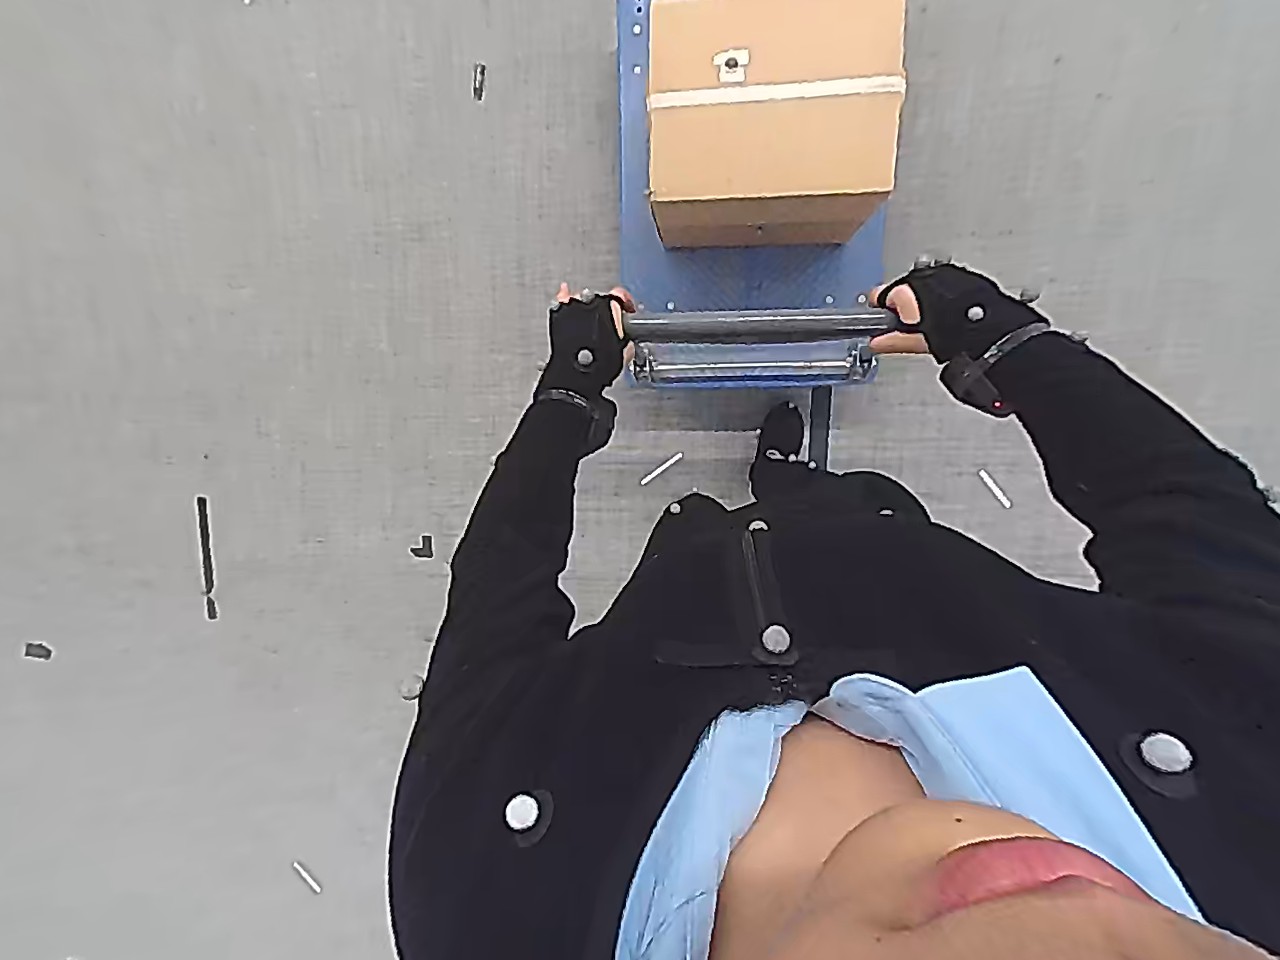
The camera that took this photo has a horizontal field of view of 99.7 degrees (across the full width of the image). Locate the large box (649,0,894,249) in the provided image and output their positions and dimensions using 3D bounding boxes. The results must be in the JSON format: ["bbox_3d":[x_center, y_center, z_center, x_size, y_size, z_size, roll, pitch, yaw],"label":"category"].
[{"bbox_3d":[0.237,-0.659,1.057,0.408,0.320,0.320,0,98,8],"label":"large box"}]
